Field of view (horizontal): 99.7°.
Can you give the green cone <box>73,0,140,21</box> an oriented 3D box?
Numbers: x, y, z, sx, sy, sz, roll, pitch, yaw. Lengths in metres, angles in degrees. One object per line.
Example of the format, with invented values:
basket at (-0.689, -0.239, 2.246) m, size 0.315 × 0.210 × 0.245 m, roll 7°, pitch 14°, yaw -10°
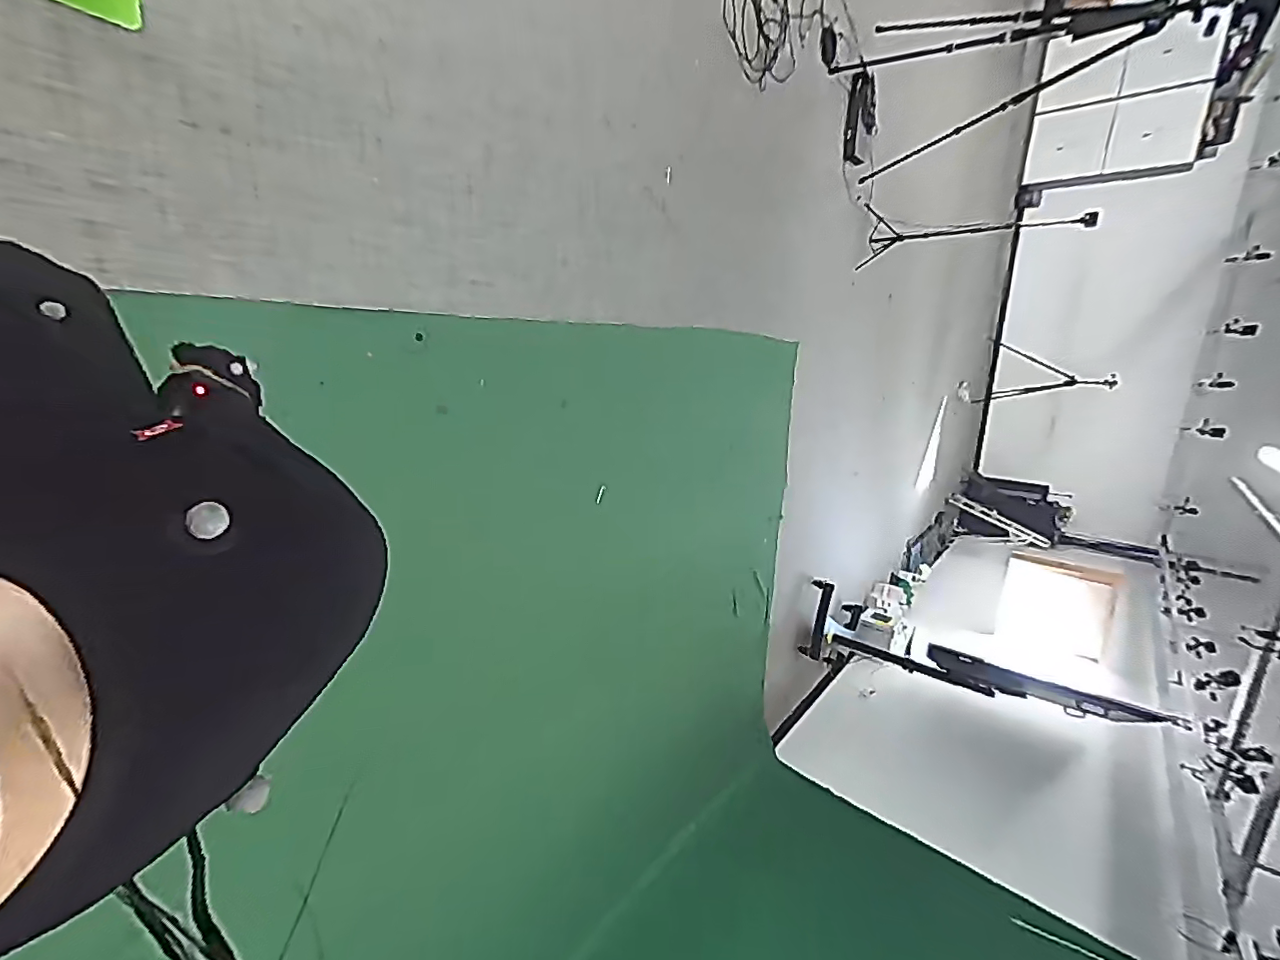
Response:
green cone at (-0.887, -0.929, 0.839) m, size 0.200 × 0.368 × 0.202 m, roll -11°, pitch 107°, yaw -49°
